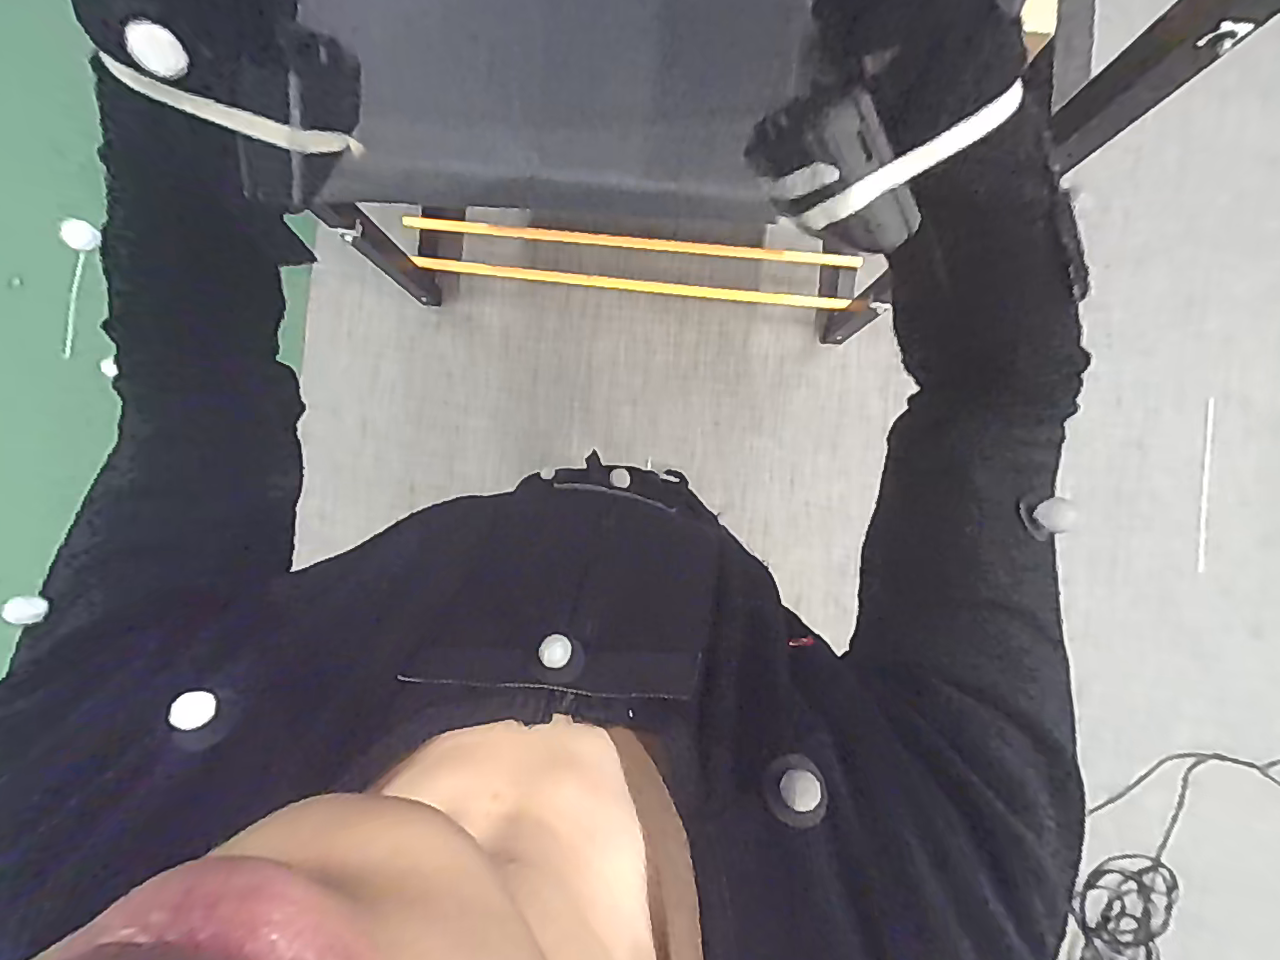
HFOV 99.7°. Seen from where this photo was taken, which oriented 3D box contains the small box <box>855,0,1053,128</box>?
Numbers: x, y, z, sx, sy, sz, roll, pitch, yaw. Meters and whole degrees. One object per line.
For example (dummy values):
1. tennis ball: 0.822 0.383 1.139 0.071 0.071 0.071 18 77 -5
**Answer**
1. small box: 0.391 -0.591 0.696 0.168 0.176 0.179 4 88 0
